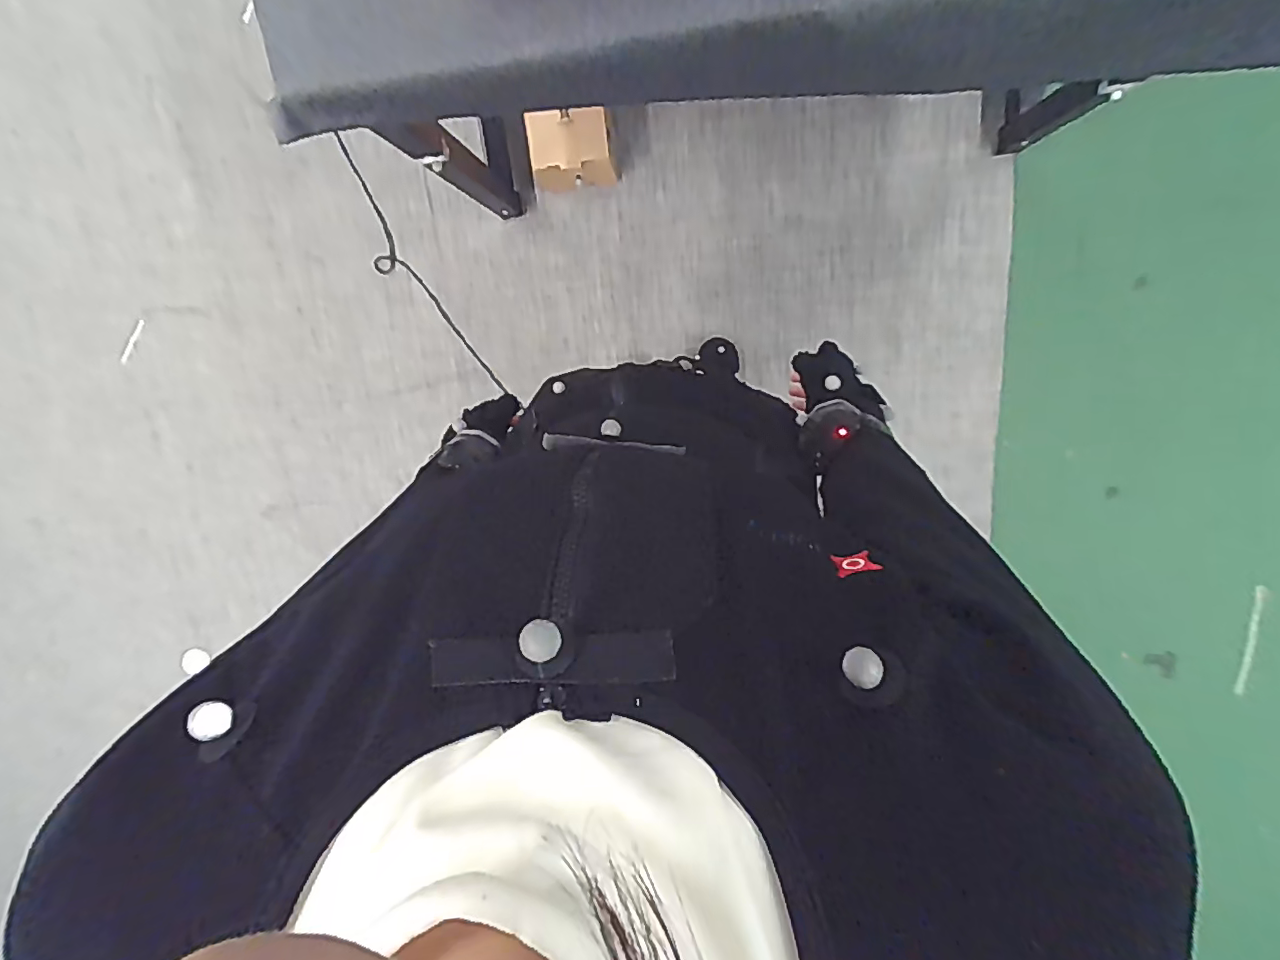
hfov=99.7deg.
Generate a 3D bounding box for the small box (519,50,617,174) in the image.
[{"bbox_3d":[-0.147,-0.780,1.168,0.168,0.176,0.179,-4,105,5],"label":"small box"}]
